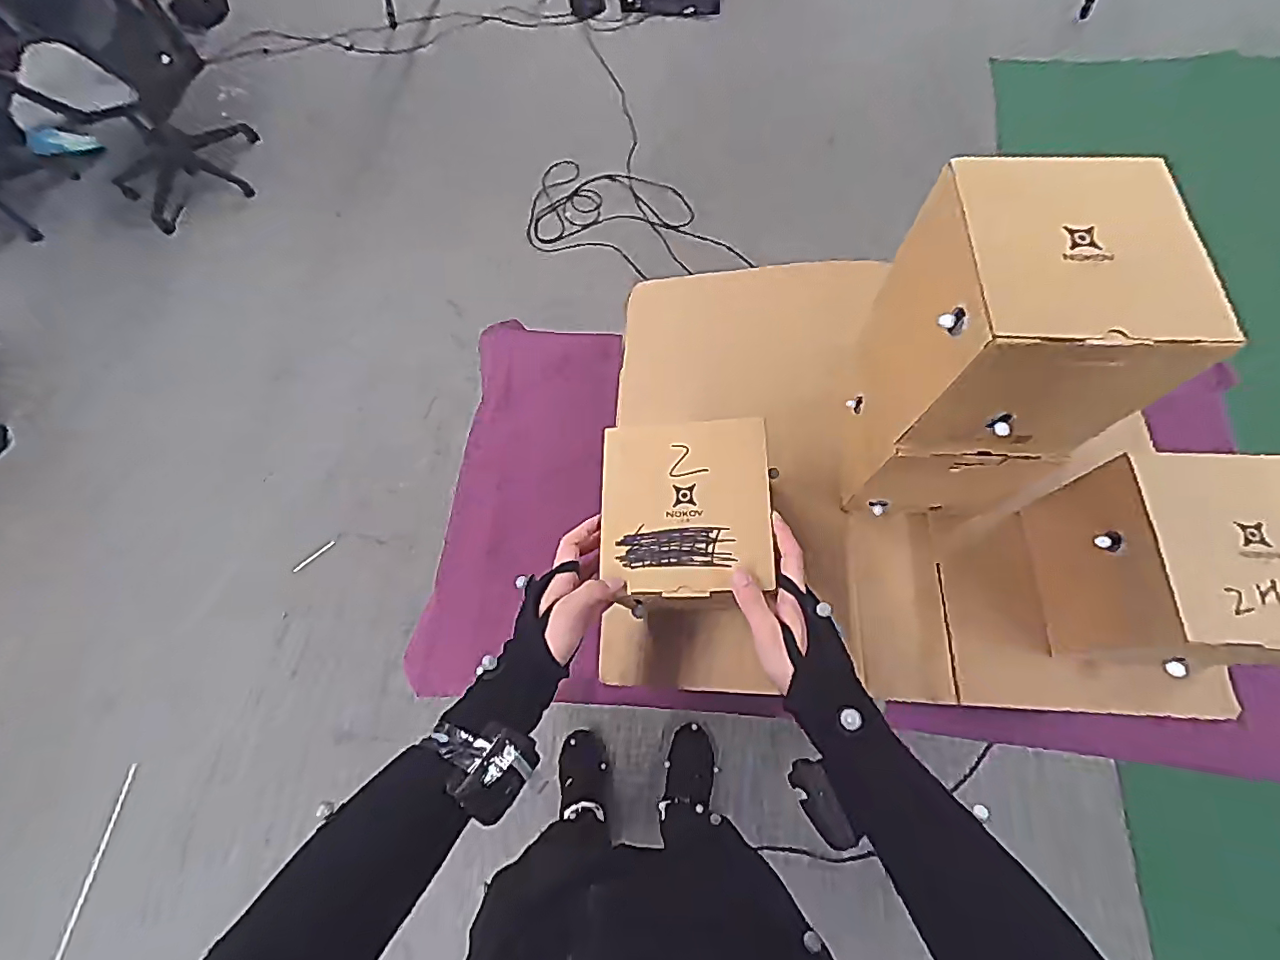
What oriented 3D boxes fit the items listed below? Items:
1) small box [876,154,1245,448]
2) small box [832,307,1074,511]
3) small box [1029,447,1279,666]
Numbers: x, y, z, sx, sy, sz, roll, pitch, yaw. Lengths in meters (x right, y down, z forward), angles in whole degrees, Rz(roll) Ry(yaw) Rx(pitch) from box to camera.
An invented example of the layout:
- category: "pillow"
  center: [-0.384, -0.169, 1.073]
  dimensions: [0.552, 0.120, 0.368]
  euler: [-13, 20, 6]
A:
- category: "small box"
  center: [0.321, -0.141, 0.463]
  dimensions: [0.168, 0.176, 0.179]
  euler: [1, 68, 2]
- category: "small box"
  center: [0.328, -0.072, 0.609]
  dimensions: [0.168, 0.176, 0.179]
  euler: [2, 67, 2]
- category: "small box"
  center: [0.531, 0.084, 0.538]
  dimensions: [0.168, 0.176, 0.179]
  euler: [2, 68, 4]
